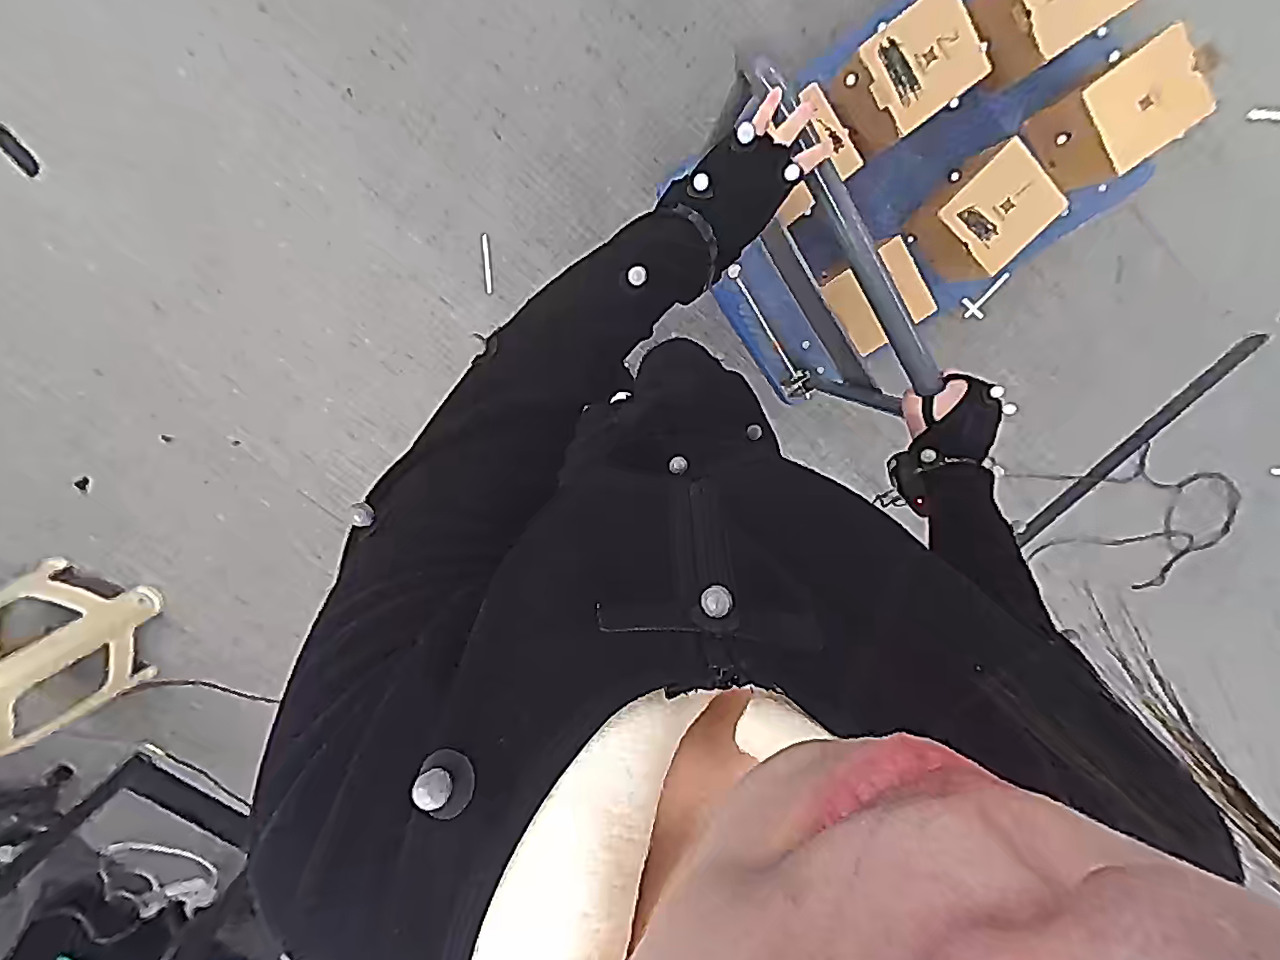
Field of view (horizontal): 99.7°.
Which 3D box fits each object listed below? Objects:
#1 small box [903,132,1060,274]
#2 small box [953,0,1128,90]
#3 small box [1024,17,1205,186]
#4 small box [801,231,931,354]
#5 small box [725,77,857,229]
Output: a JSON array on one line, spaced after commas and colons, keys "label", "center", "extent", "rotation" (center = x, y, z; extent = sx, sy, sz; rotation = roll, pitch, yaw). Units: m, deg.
[{"label": "small box", "center": [0.656, -0.532, 1.070], "extent": [0.168, 0.176, 0.179], "rotation": [42, 103, -12]}, {"label": "small box", "center": [0.709, -0.853, 0.964], "extent": [0.179, 0.176, 0.168], "rotation": [-31, 105, 11]}, {"label": "small box", "center": [0.871, -0.691, 1.017], "extent": [0.179, 0.176, 0.168], "rotation": [-36, 104, 11]}, {"label": "small box", "center": [0.454, -0.382, 1.121], "extent": [0.179, 0.176, 0.168], "rotation": [-32, 105, 10]}, {"label": "small box", "center": [0.278, -0.614, 1.047], "extent": [0.179, 0.176, 0.168], "rotation": [-36, 105, 12]}]
